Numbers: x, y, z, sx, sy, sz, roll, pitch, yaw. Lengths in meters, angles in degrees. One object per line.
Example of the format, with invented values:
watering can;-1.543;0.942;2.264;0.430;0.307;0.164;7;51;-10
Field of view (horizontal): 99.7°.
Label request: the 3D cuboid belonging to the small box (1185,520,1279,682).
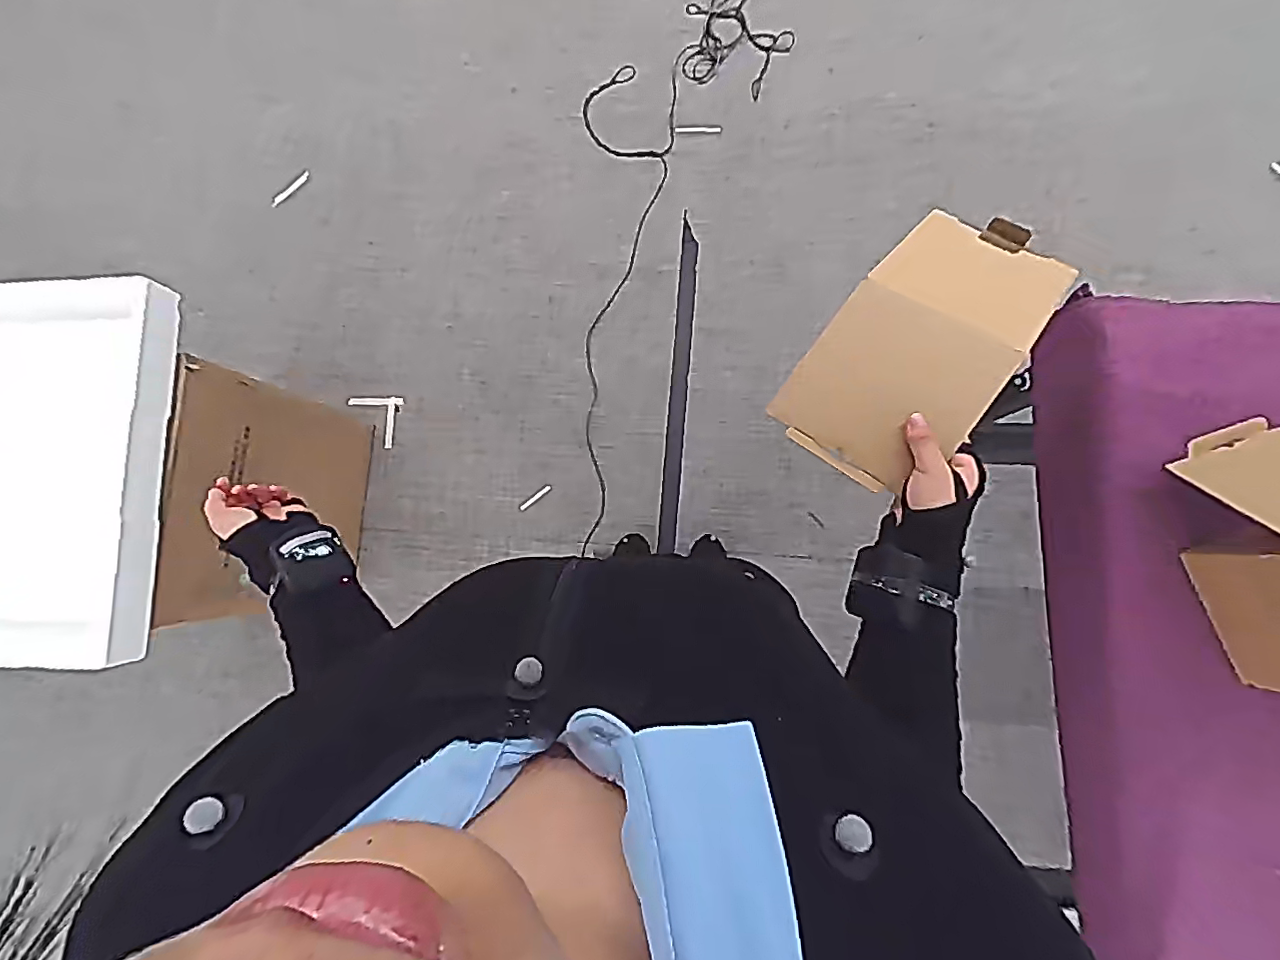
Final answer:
small box;0.800;0.136;0.616;0.168;0.176;0.179;-20;82;3
